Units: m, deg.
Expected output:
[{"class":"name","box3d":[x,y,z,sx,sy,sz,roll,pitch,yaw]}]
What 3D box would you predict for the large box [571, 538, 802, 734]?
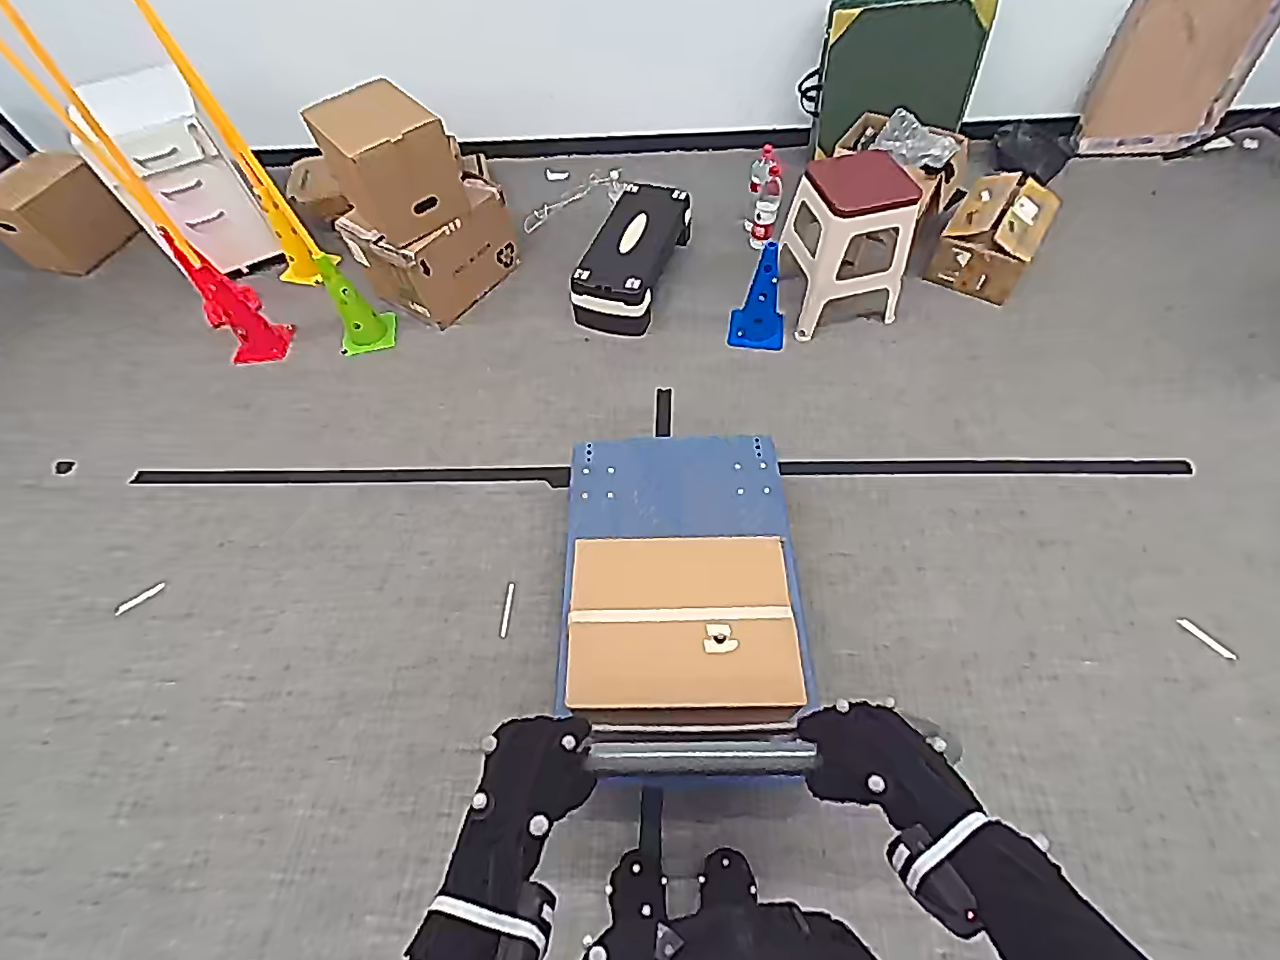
[{"class":"large box","box3d":[0.077,0.332,1.124,0.408,0.320,0.320,-1,58,1]}]
